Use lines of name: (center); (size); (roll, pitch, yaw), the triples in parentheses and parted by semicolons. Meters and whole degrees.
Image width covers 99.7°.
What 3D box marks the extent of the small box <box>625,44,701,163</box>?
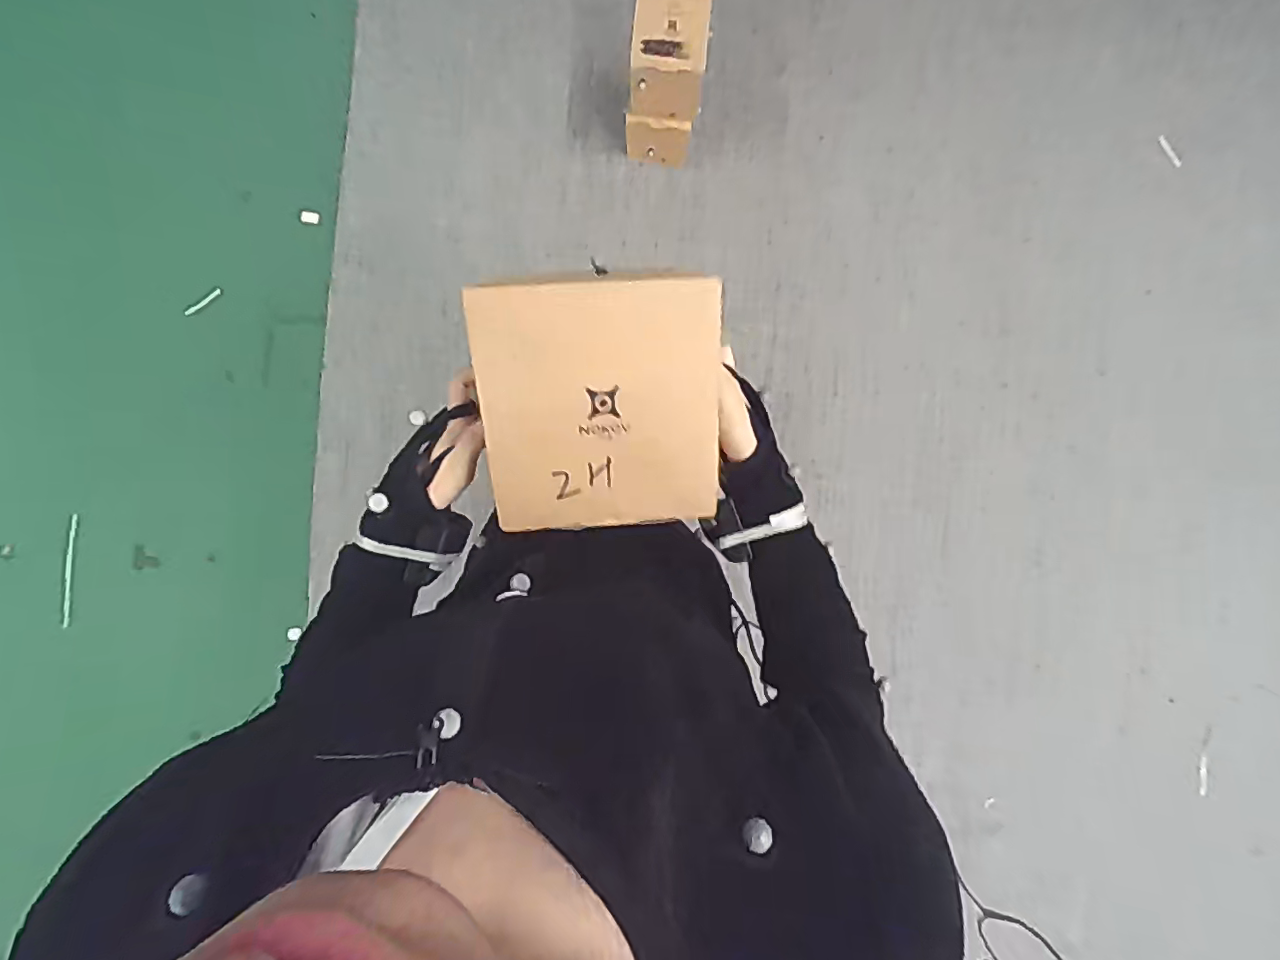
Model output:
small box: (0.054, -0.974, 1.412); (0.168, 0.176, 0.179); (10, 91, -1)
